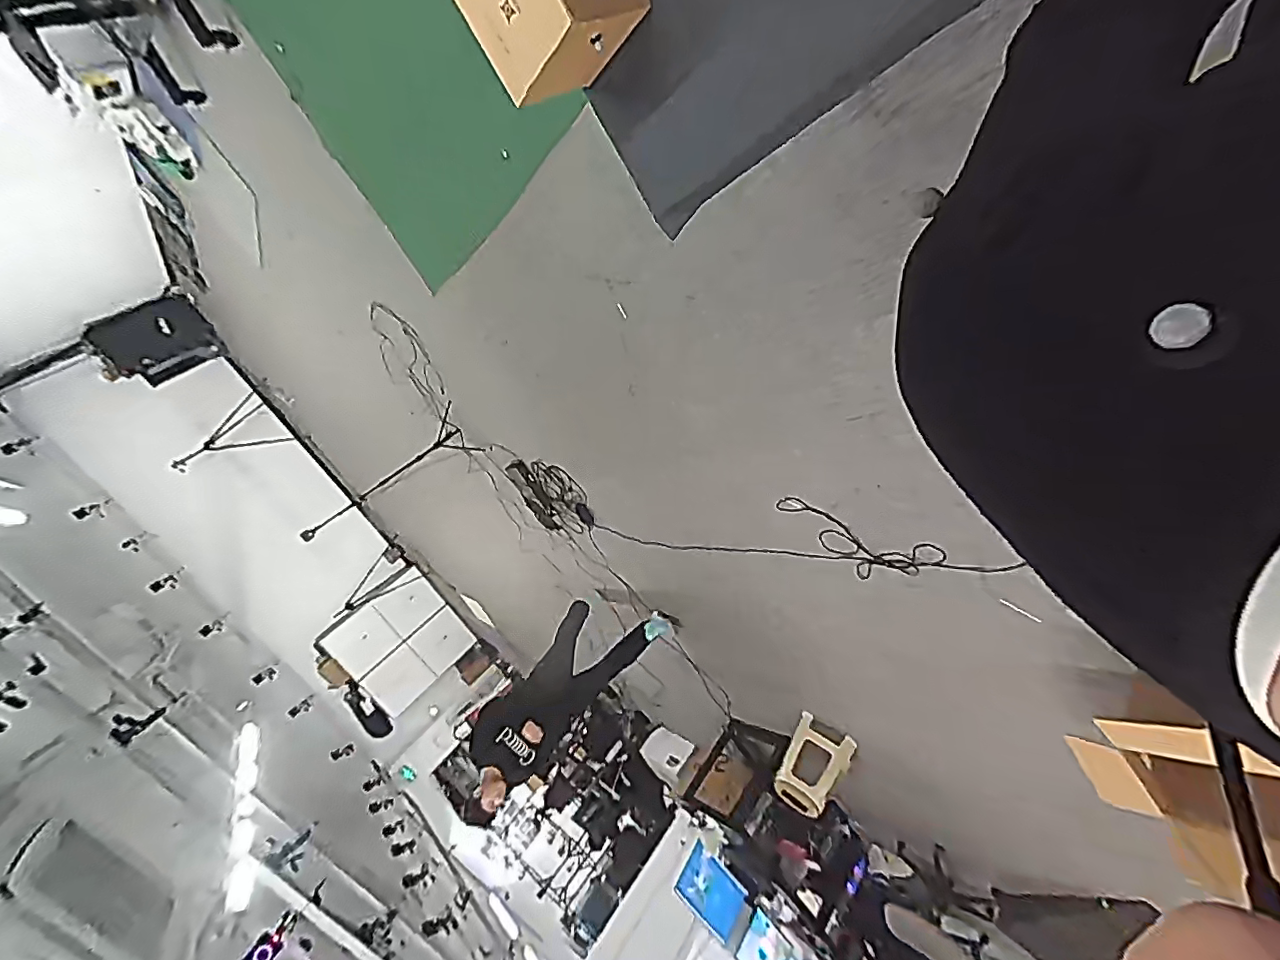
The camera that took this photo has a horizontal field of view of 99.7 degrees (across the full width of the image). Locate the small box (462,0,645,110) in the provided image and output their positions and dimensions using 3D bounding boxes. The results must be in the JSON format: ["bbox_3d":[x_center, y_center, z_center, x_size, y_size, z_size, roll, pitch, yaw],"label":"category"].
[{"bbox_3d":[-0.116,-0.677,0.772,0.179,0.176,0.168,-5,120,52],"label":"small box"}]
